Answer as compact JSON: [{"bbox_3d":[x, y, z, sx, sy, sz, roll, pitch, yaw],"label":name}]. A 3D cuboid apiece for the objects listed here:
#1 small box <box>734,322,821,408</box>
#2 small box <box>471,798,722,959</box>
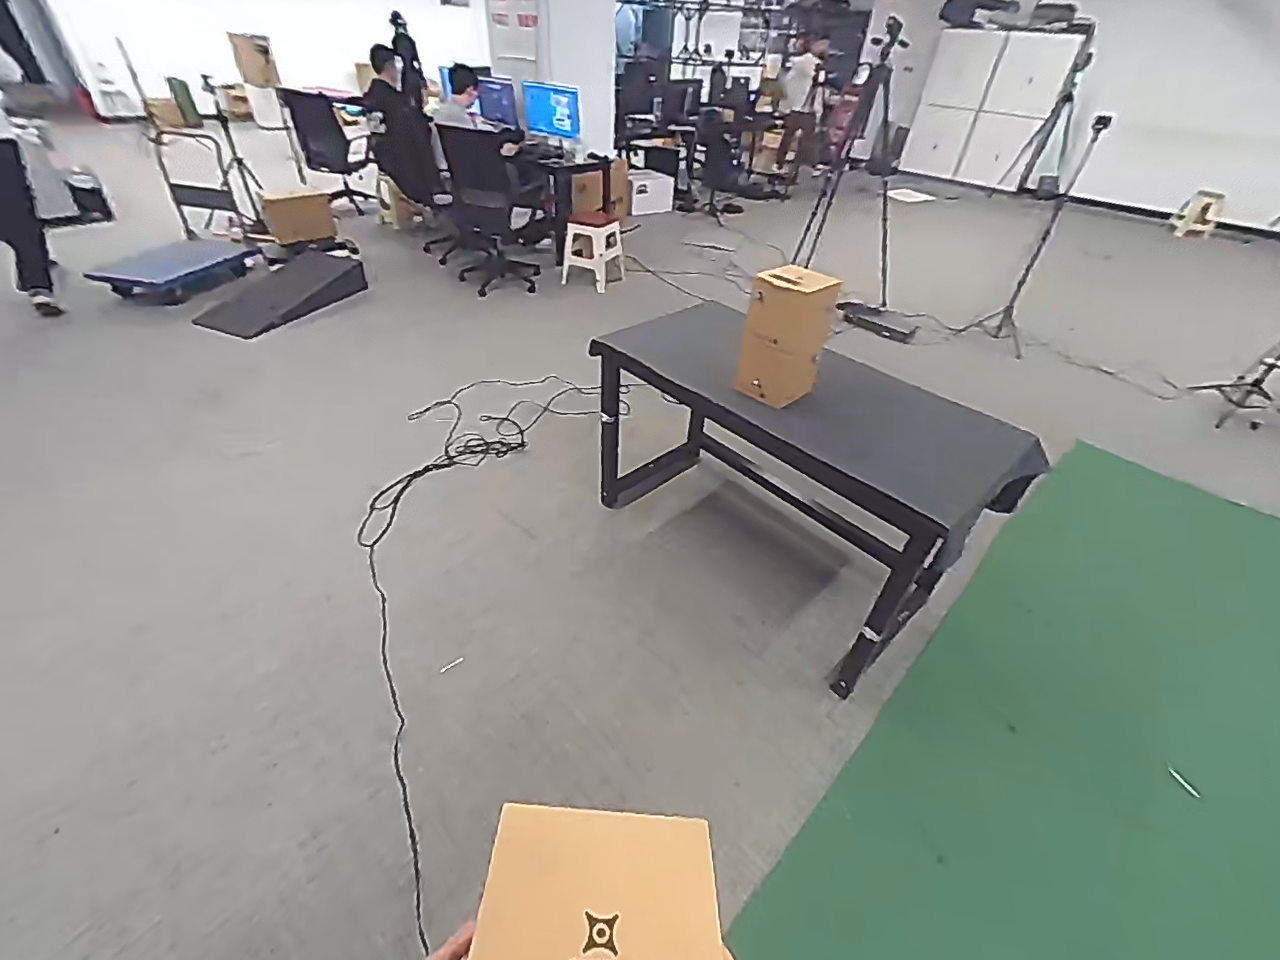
[{"bbox_3d":[0.391,-0.333,1.568,0.179,0.176,0.168,-29,49,-35],"label":"small box"},{"bbox_3d":[-0.039,0.373,0.393,0.168,0.176,0.179,7,25,-5],"label":"small box"}]
